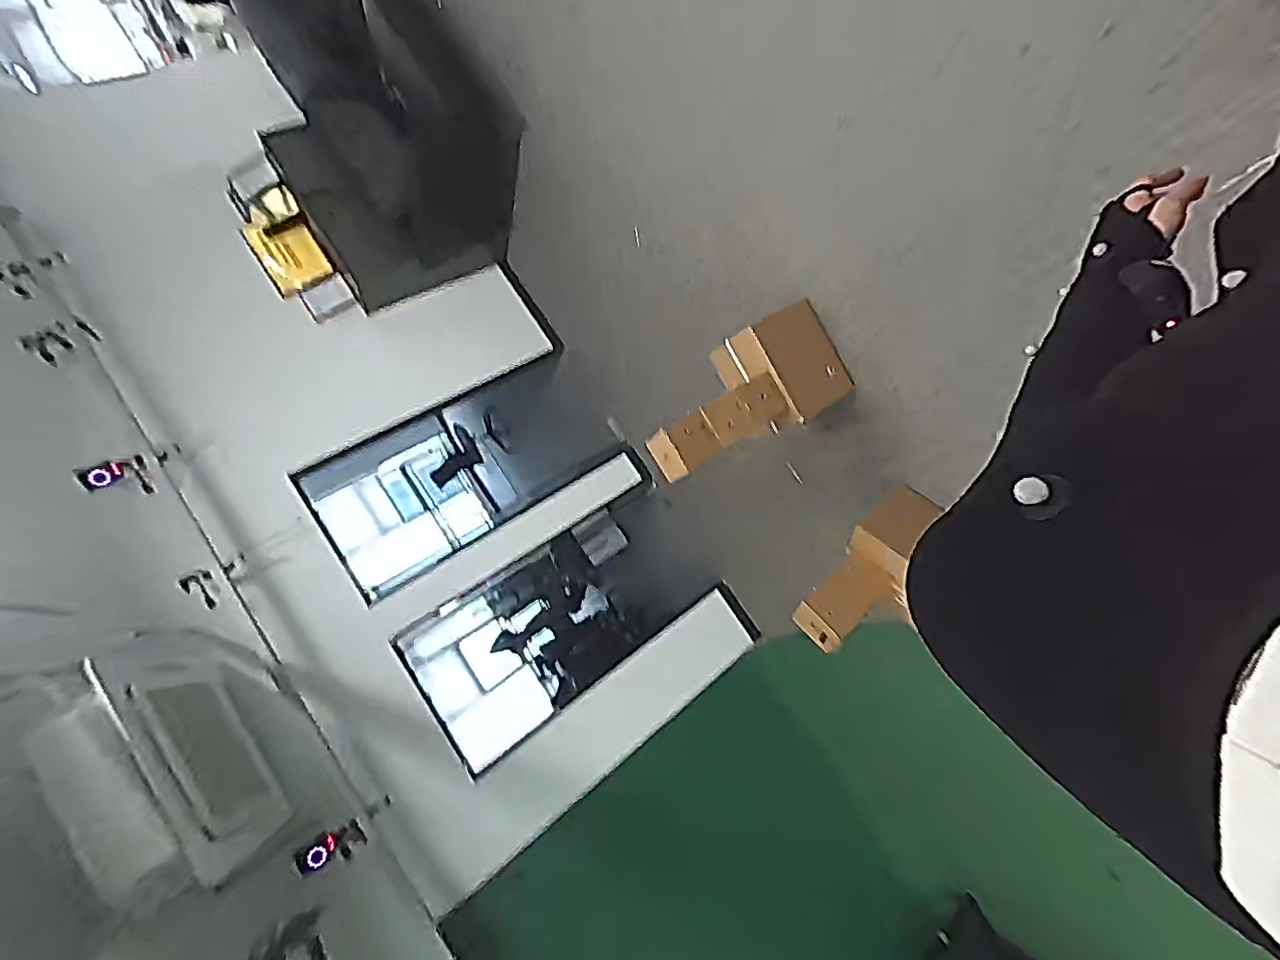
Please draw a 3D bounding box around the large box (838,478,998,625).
[{"bbox_3d":[1.051,0.267,2.087,0.408,0.320,0.320,40,153,32],"label":"large box"}]

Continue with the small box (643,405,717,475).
[{"bbox_3d":[0.145,-0.141,1.894,0.168,0.176,0.179,58,158,-1],"label":"small box"}]

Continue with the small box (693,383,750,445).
[{"bbox_3d":[0.271,-0.226,1.953,0.168,0.176,0.179,57,158,-2],"label":"small box"}]

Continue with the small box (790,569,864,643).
[{"bbox_3d":[0.692,0.465,2.002,0.179,0.176,0.168,45,155,26],"label":"small box"}]

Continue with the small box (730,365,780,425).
[{"bbox_3d":[0.398,-0.305,2.018,0.168,0.176,0.179,58,156,-2],"label":"small box"}]
